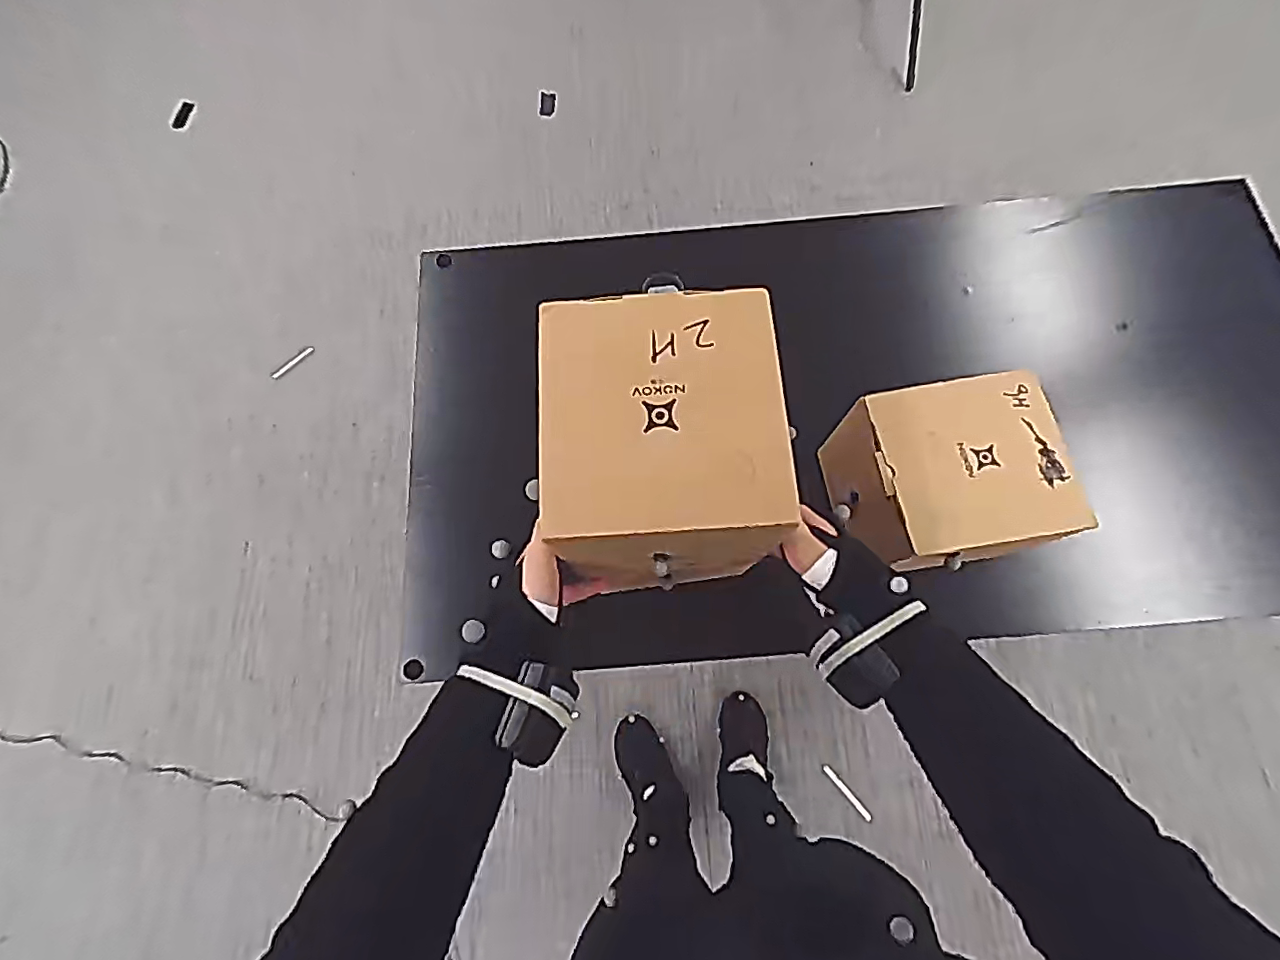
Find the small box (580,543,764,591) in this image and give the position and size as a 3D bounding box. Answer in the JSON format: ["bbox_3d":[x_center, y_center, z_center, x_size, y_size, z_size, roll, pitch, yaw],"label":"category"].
[{"bbox_3d":[0.024,0.025,0.601,0.179,0.176,0.168,-8,72,1],"label":"small box"}]

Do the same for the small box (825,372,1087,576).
[{"bbox_3d":[0.319,0.005,0.596,0.179,0.176,0.168,-9,72,0],"label":"small box"}]

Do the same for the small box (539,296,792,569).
[{"bbox_3d":[0.016,-0.023,0.444,0.168,0.176,0.179,-3,72,1],"label":"small box"}]
